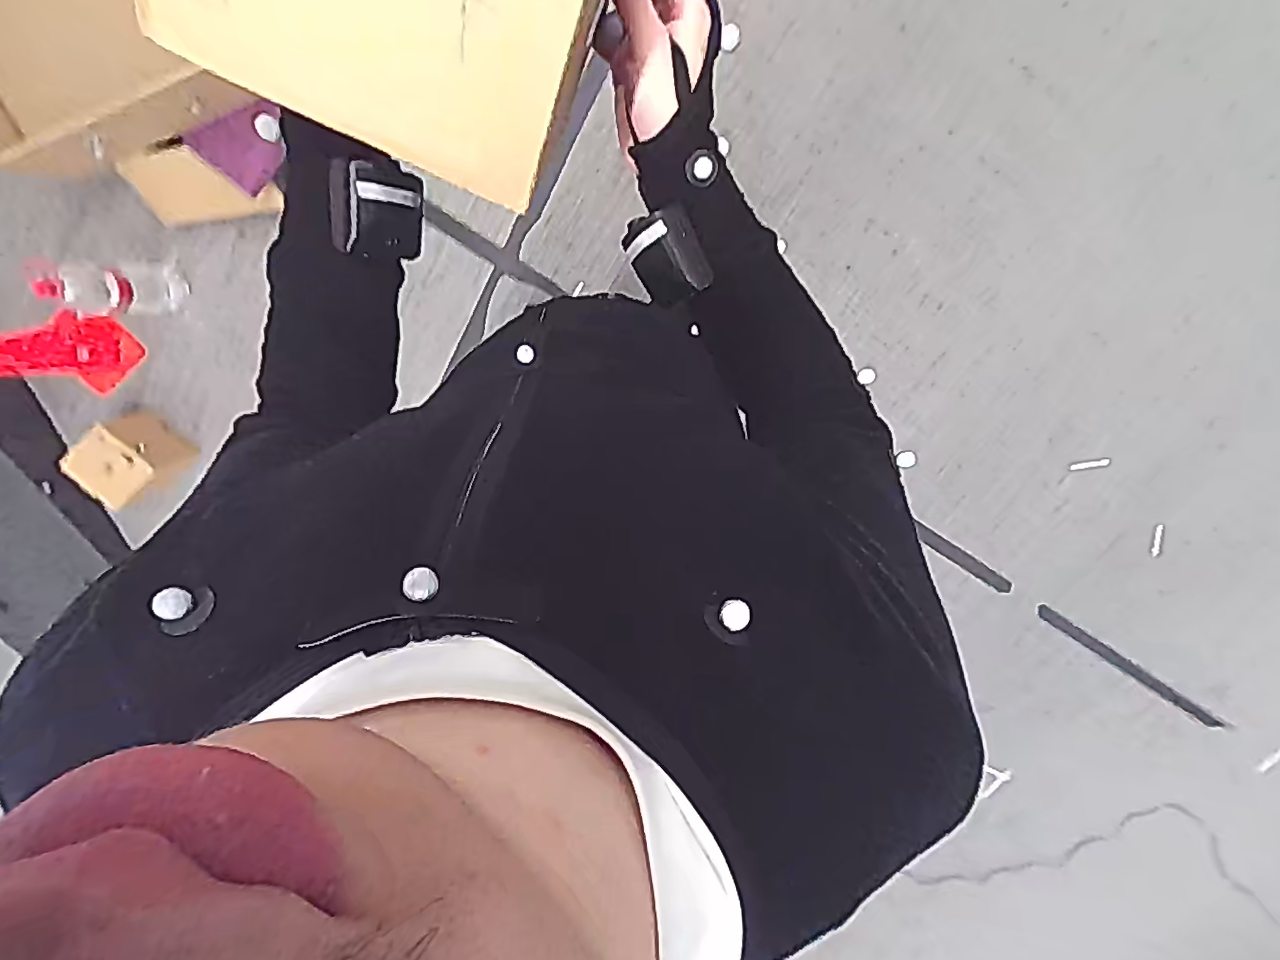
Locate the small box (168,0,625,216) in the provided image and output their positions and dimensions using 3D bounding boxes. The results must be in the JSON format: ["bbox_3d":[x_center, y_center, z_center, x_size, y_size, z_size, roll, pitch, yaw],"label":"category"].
[{"bbox_3d":[-0.094,-0.276,0.269,0.179,0.176,0.168,20,136,-17],"label":"small box"}]
